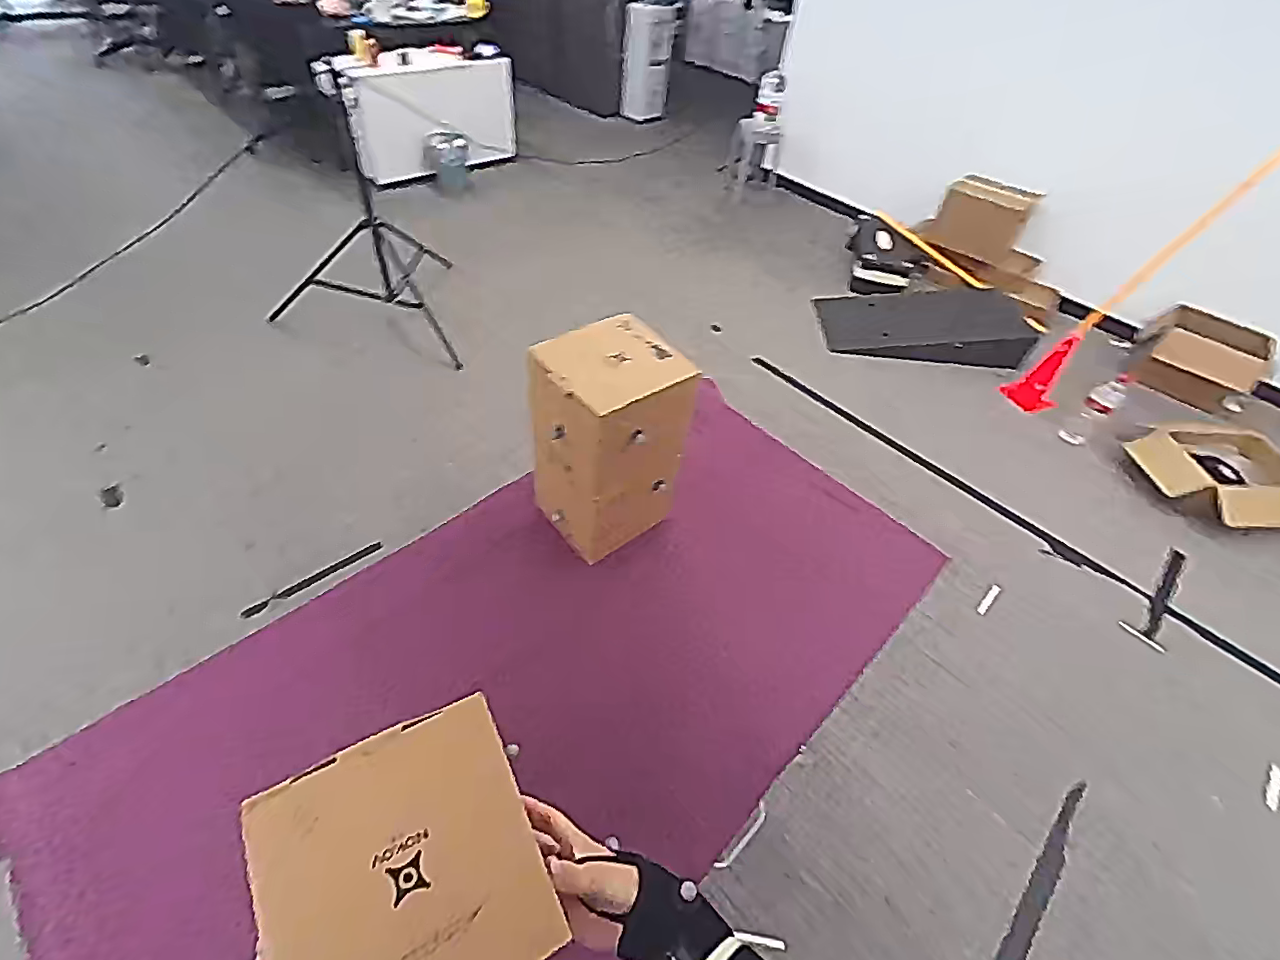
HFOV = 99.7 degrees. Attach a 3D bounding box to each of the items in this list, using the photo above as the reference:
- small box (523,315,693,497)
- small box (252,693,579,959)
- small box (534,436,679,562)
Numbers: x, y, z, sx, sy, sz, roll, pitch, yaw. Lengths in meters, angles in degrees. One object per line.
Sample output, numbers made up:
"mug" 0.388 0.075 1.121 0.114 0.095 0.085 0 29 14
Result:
"small box" -0.048 -0.106 0.786 0.179 0.176 0.168 -30 59 -28
"small box" -0.165 0.299 0.418 0.168 0.176 0.179 -19 64 -25
"small box" -0.062 0.002 0.909 0.179 0.176 0.168 -31 59 -29
